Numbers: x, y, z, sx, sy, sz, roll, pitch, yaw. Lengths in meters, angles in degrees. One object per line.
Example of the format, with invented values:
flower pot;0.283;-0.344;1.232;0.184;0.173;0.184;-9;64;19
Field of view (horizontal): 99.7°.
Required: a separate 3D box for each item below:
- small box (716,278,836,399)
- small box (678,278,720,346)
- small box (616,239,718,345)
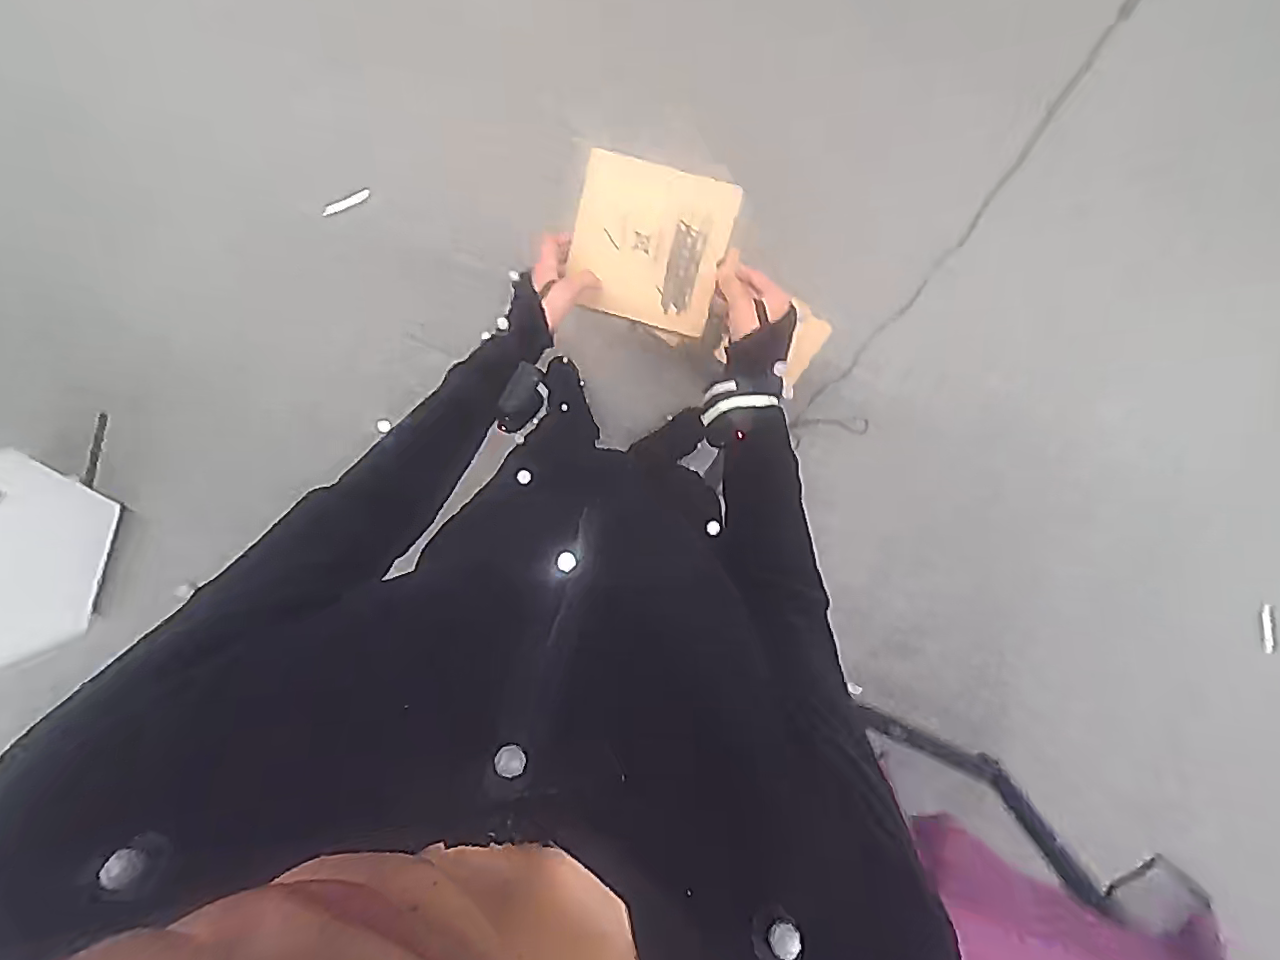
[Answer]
small box;0.272;-0.289;1.136;0.168;0.176;0.179;35;101;-1
small box;0.096;-0.477;1.448;0.168;0.176;0.179;31;102;0
small box;0.068;-0.438;1.291;0.179;0.176;0.168;35;102;-1
